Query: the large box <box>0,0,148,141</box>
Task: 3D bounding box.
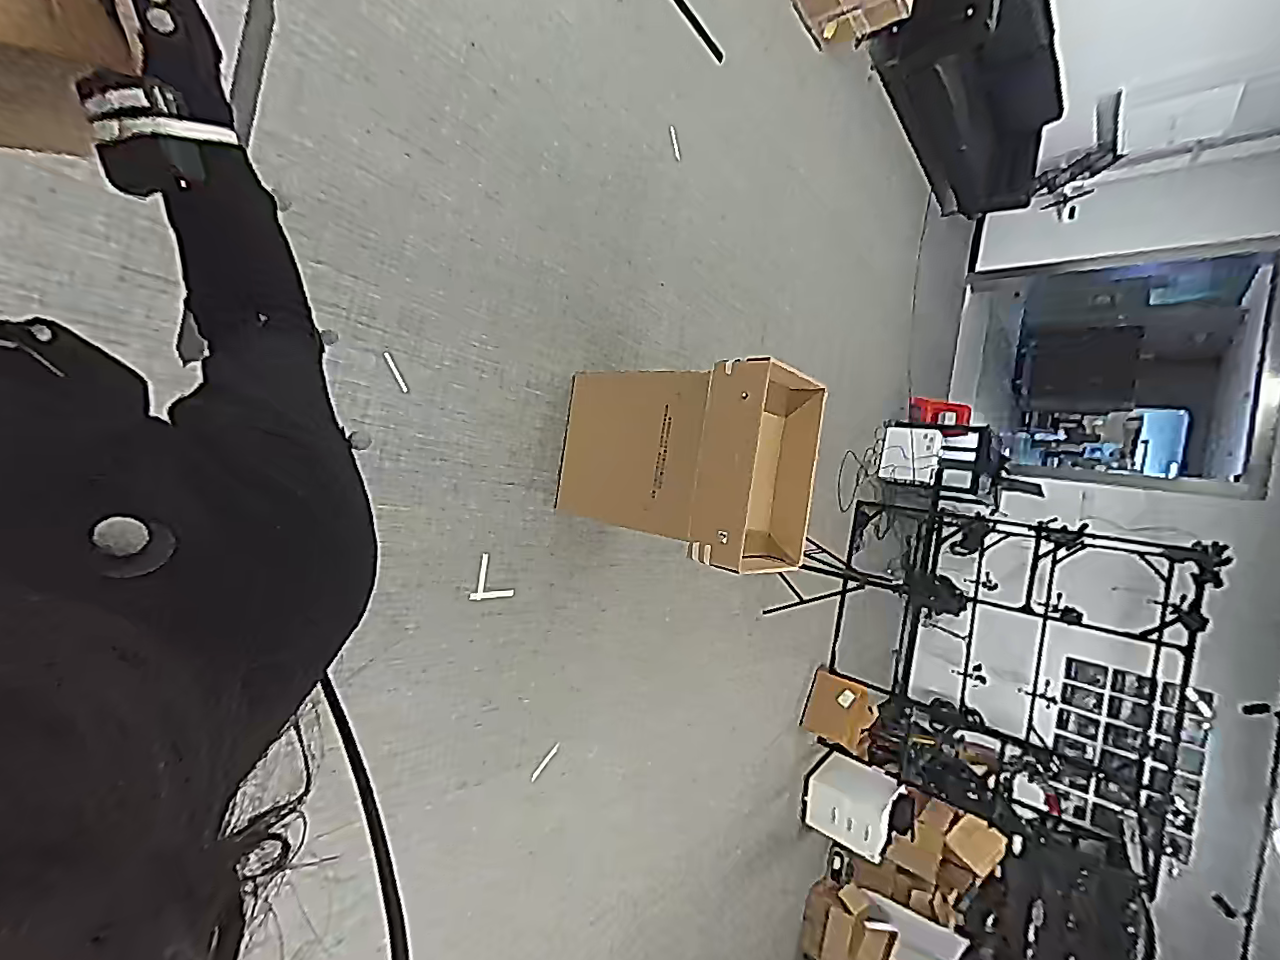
[{"bbox_3d":[-0.599,-0.420,0.292,0.408,0.320,0.320,-22,118,-46],"label":"large box"}]
